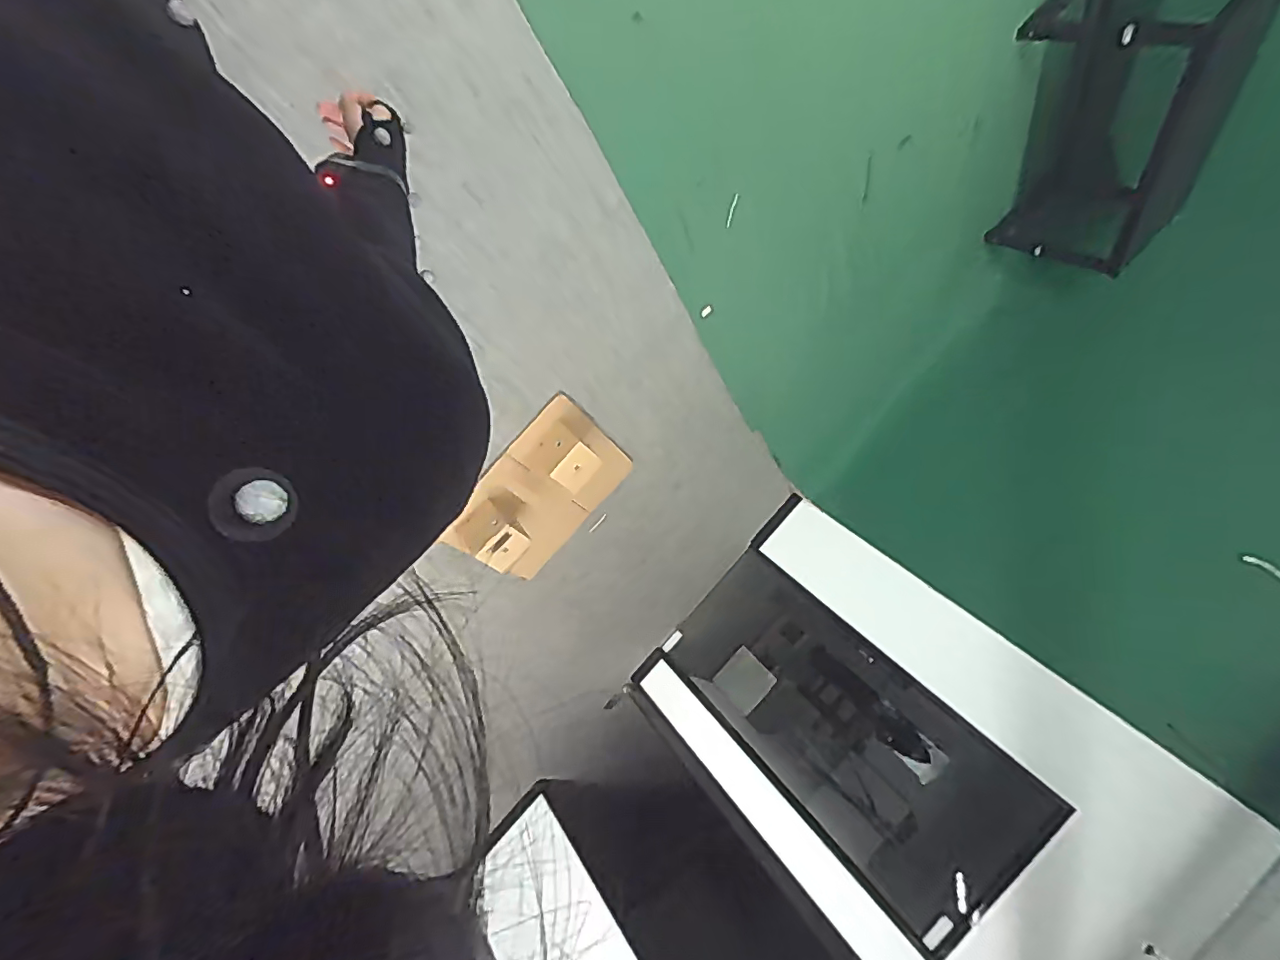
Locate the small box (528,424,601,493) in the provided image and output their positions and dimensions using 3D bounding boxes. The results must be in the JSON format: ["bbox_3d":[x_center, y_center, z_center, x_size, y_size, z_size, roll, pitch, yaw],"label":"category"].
[{"bbox_3d":[-0.283,-0.086,2.005,0.168,0.176,0.179,-49,145,0],"label":"small box"}]
